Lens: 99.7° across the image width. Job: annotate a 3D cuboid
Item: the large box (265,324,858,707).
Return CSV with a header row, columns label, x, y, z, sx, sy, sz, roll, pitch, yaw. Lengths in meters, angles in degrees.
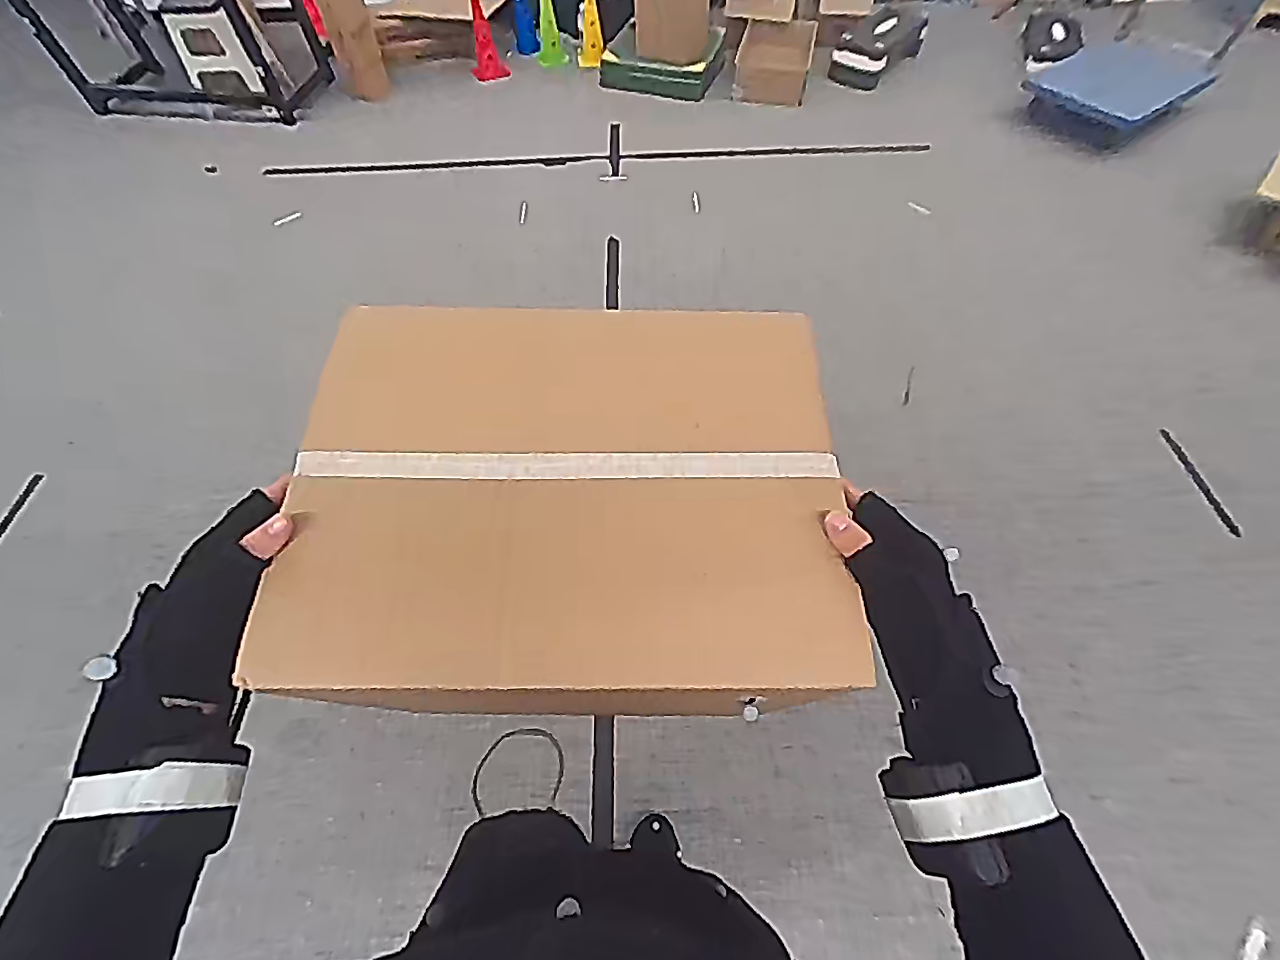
label,x,y,z,sx,sy,sz,roll,pitch,yaw
large box,-0.053,0.061,0.556,0.408,0.320,0.320,0,64,-1
